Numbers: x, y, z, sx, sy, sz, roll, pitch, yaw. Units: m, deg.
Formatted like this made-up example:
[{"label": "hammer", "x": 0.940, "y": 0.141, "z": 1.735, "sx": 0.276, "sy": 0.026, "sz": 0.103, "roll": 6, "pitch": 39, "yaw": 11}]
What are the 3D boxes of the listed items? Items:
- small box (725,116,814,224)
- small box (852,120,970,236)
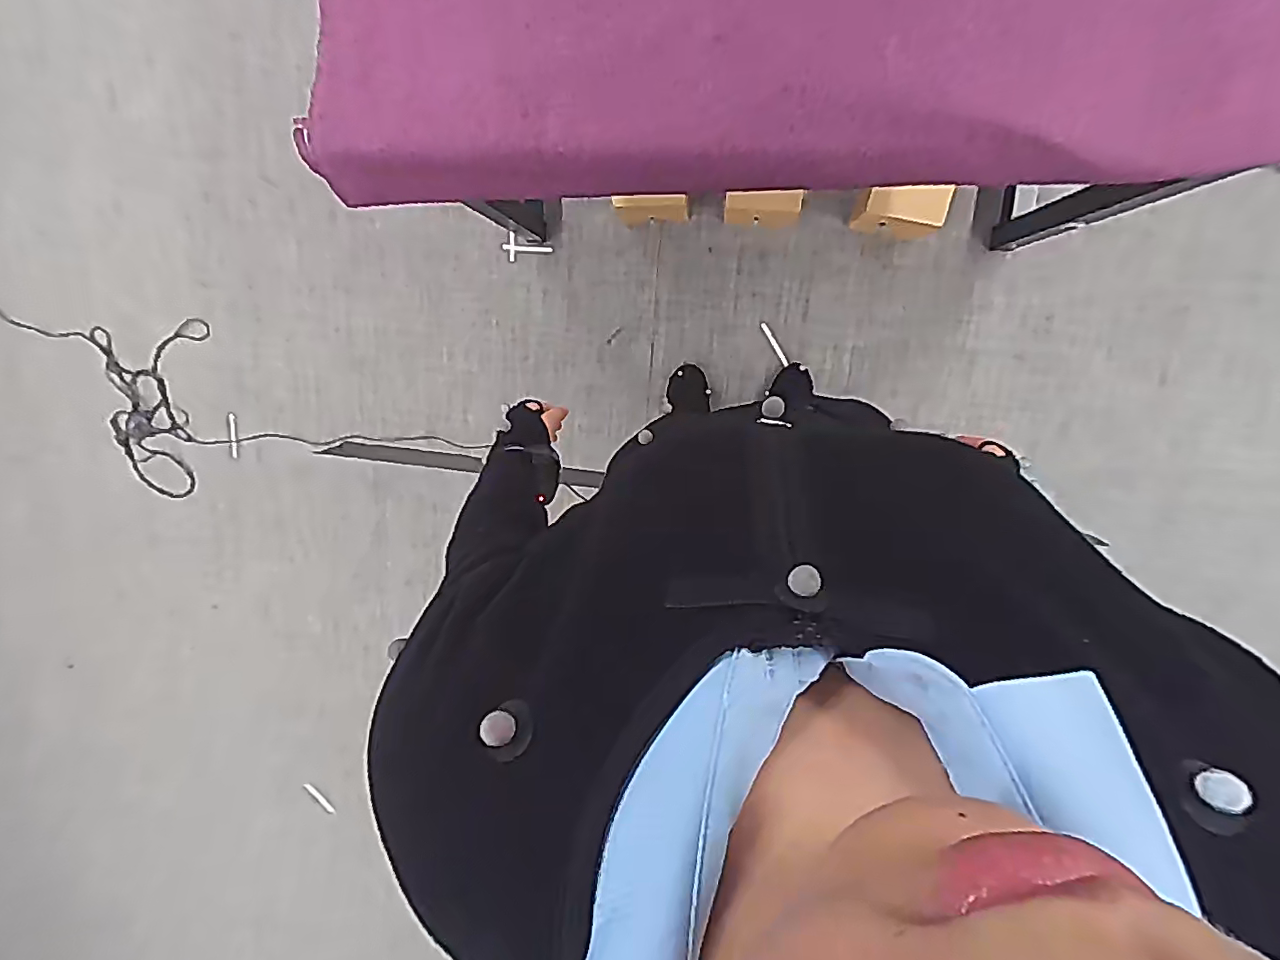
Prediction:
[{"label": "small box", "x": 0.287, "y": -0.700, "z": 1.239, "sx": 0.168, "sy": 0.176, "sz": 0.179, "roll": 7, "pitch": 104, "yaw": 5}, {"label": "small box", "x": 0.592, "y": -0.663, "z": 1.211, "sx": 0.168, "sy": 0.176, "sz": 0.179, "roll": 14, "pitch": 104, "yaw": 4}]
